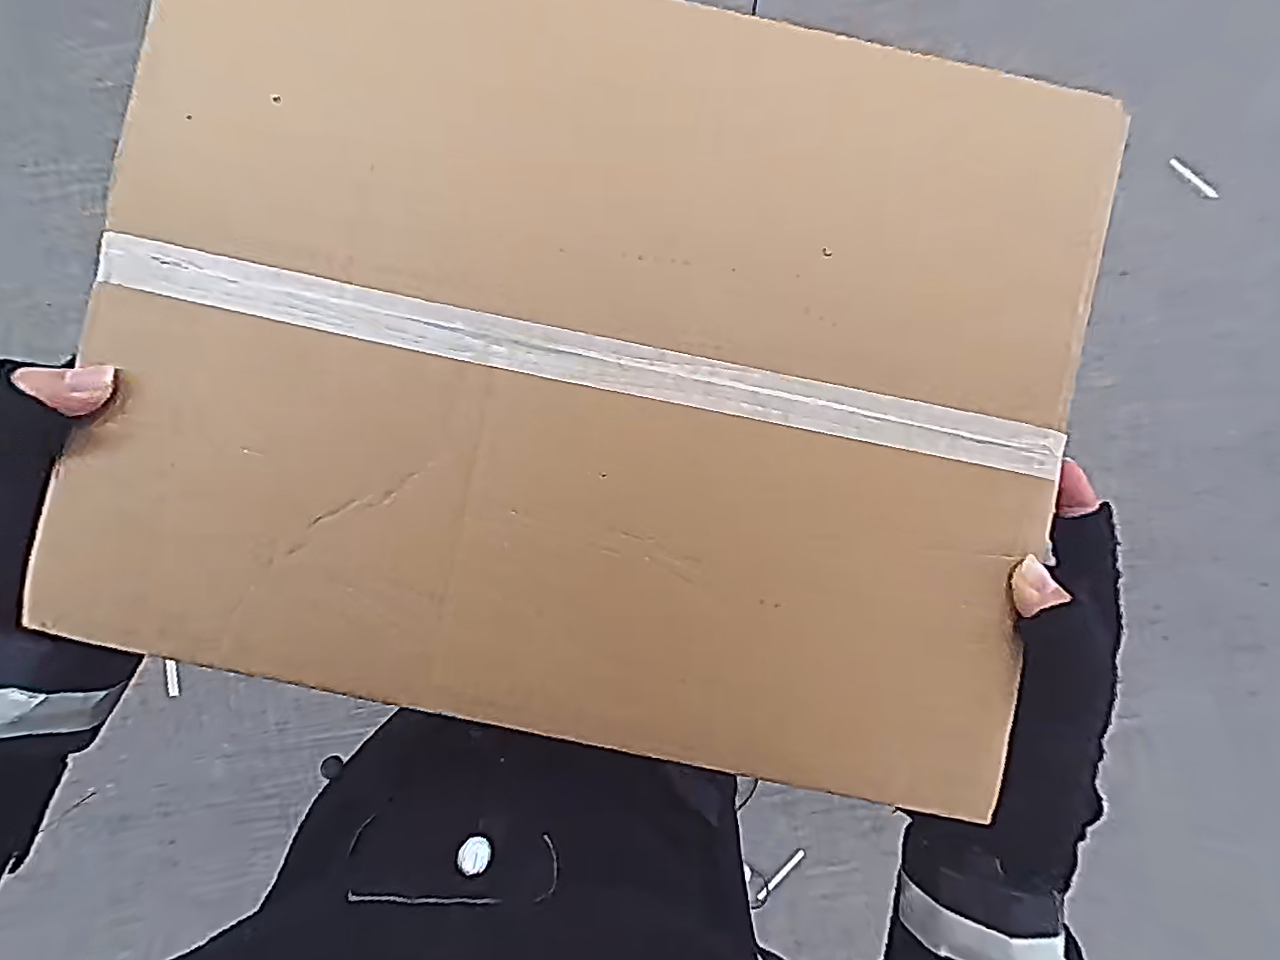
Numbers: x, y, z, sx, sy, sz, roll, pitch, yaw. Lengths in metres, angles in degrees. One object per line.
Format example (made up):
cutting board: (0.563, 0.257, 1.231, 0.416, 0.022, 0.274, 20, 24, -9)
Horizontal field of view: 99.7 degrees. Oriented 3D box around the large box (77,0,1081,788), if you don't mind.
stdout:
large box: (-0.025, -0.046, 0.387, 0.408, 0.320, 0.320, 12, 89, -1)
